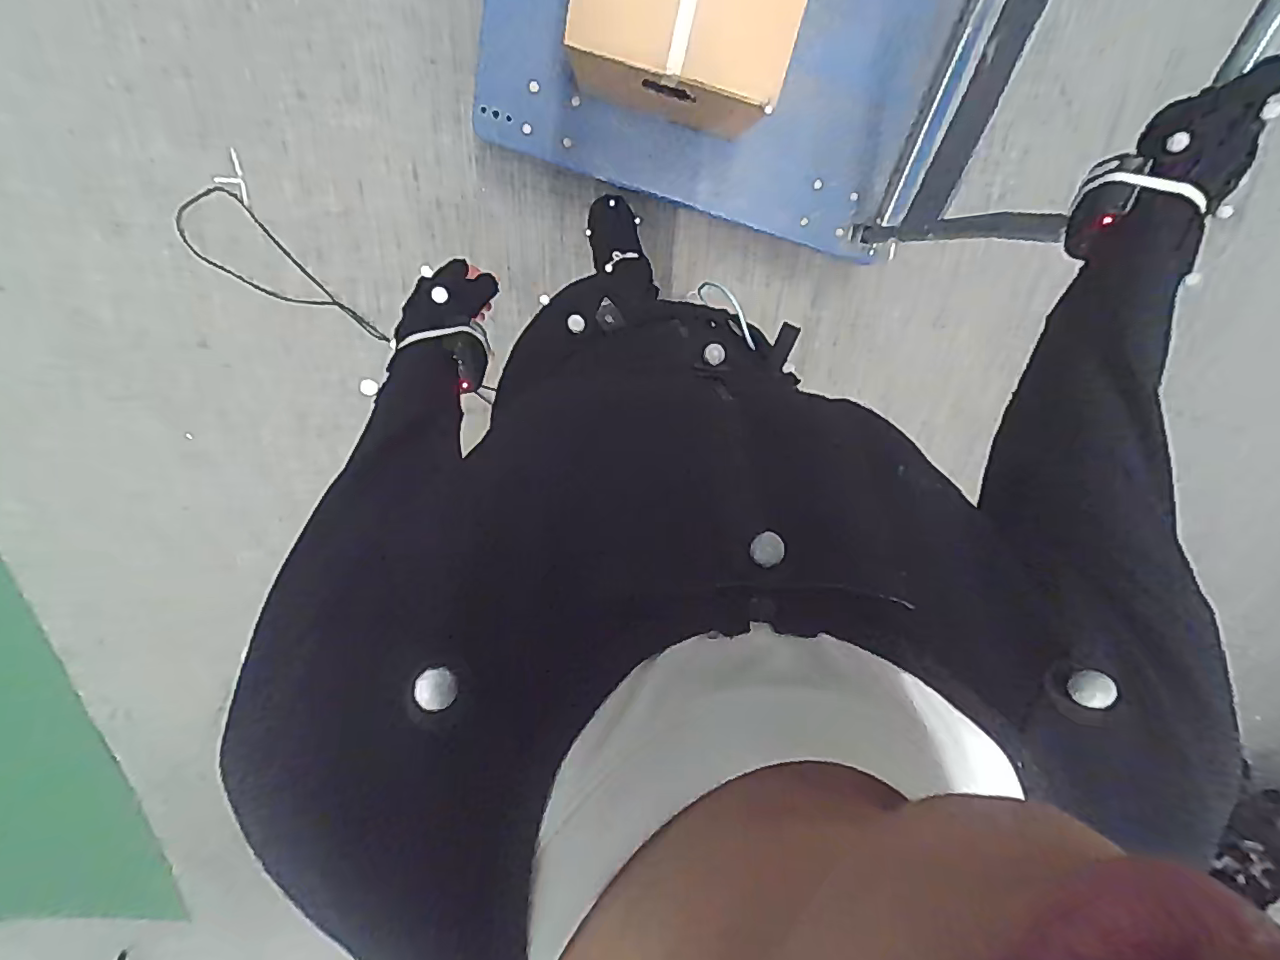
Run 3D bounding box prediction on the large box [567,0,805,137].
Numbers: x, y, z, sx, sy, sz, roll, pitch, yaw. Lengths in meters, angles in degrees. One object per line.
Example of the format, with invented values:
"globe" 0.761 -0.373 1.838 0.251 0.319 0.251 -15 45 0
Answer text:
"large box" 0.087 -0.807 0.821 0.320 0.320 0.408 13 115 -6
